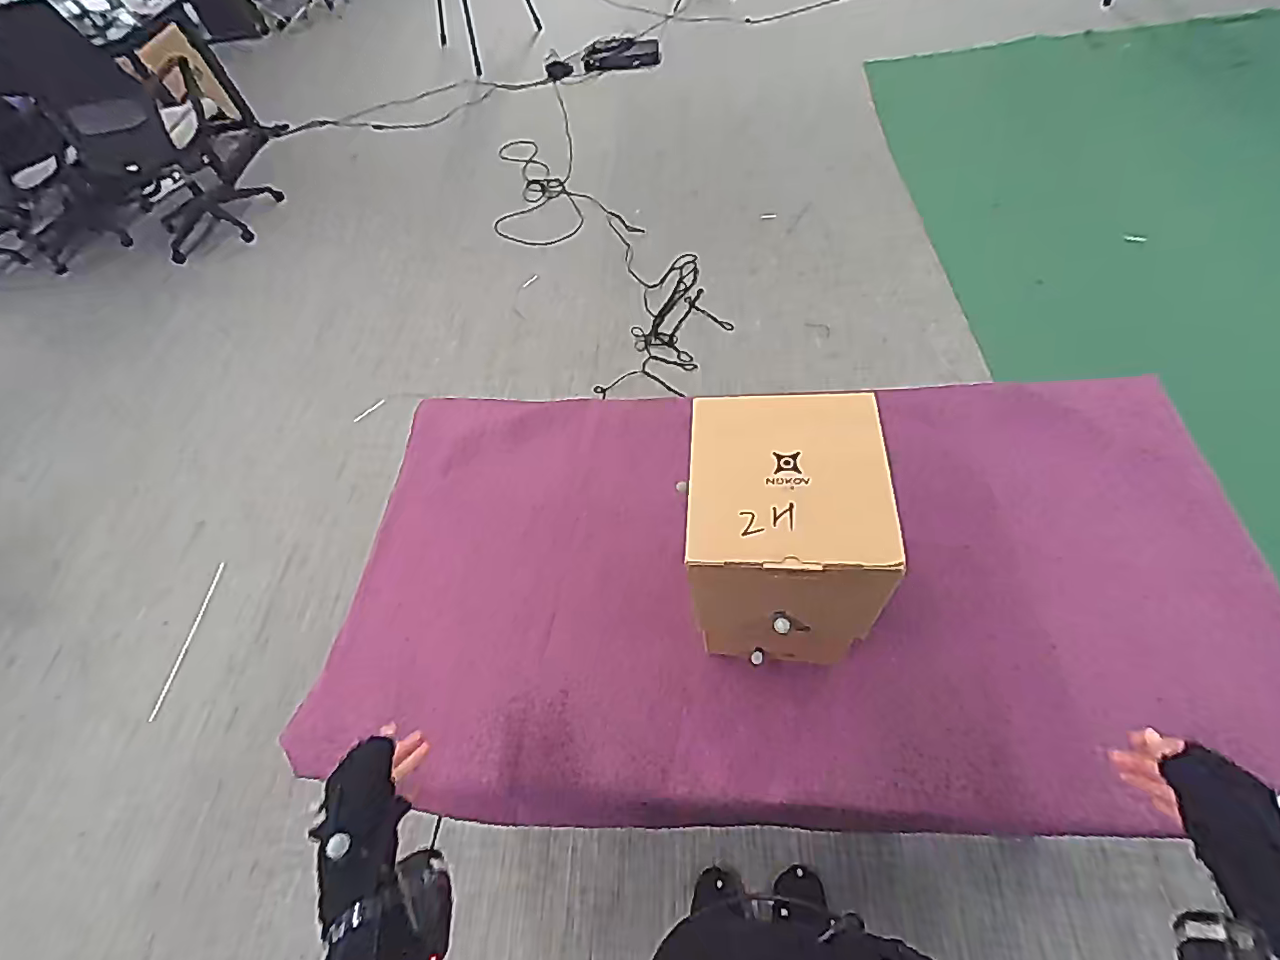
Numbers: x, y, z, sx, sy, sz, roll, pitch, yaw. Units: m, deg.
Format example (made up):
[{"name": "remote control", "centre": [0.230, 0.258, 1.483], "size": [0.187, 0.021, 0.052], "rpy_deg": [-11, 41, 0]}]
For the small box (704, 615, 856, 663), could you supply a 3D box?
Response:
[{"name": "small box", "centre": [0.167, 0.112, 0.674], "size": [0.168, 0.176, 0.179], "rpy_deg": [2, 59, 11]}]

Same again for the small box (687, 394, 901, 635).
[{"name": "small box", "centre": [0.138, 0.036, 0.531], "size": [0.168, 0.176, 0.179], "rpy_deg": [0, 57, 11]}]
